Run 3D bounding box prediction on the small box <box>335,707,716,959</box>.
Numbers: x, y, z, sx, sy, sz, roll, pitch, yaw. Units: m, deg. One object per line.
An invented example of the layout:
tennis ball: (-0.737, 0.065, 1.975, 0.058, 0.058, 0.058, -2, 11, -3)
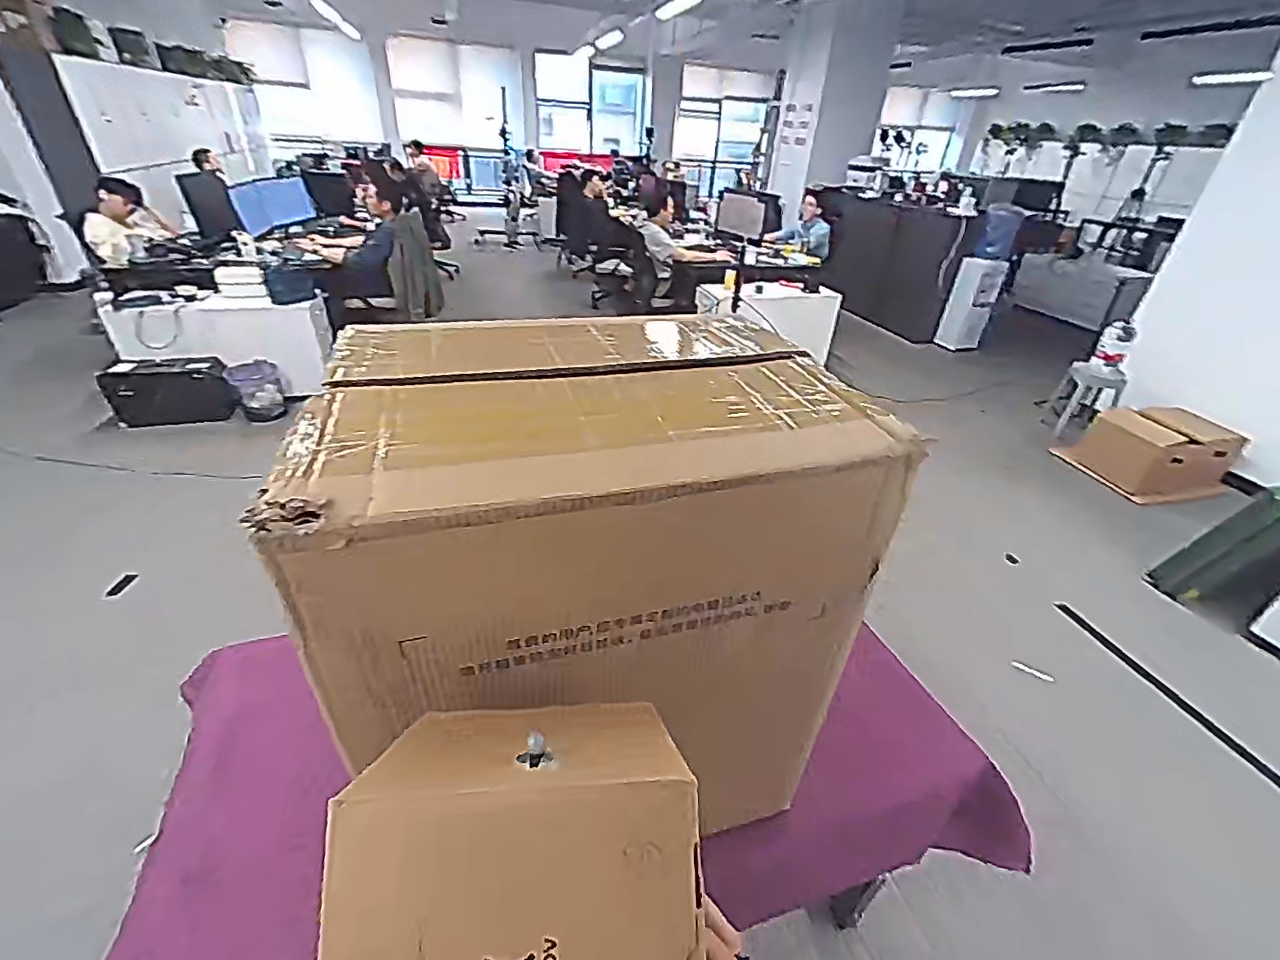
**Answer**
small box: (-0.059, 0.241, 0.325, 0.179, 0.176, 0.168, -1, 77, -6)
